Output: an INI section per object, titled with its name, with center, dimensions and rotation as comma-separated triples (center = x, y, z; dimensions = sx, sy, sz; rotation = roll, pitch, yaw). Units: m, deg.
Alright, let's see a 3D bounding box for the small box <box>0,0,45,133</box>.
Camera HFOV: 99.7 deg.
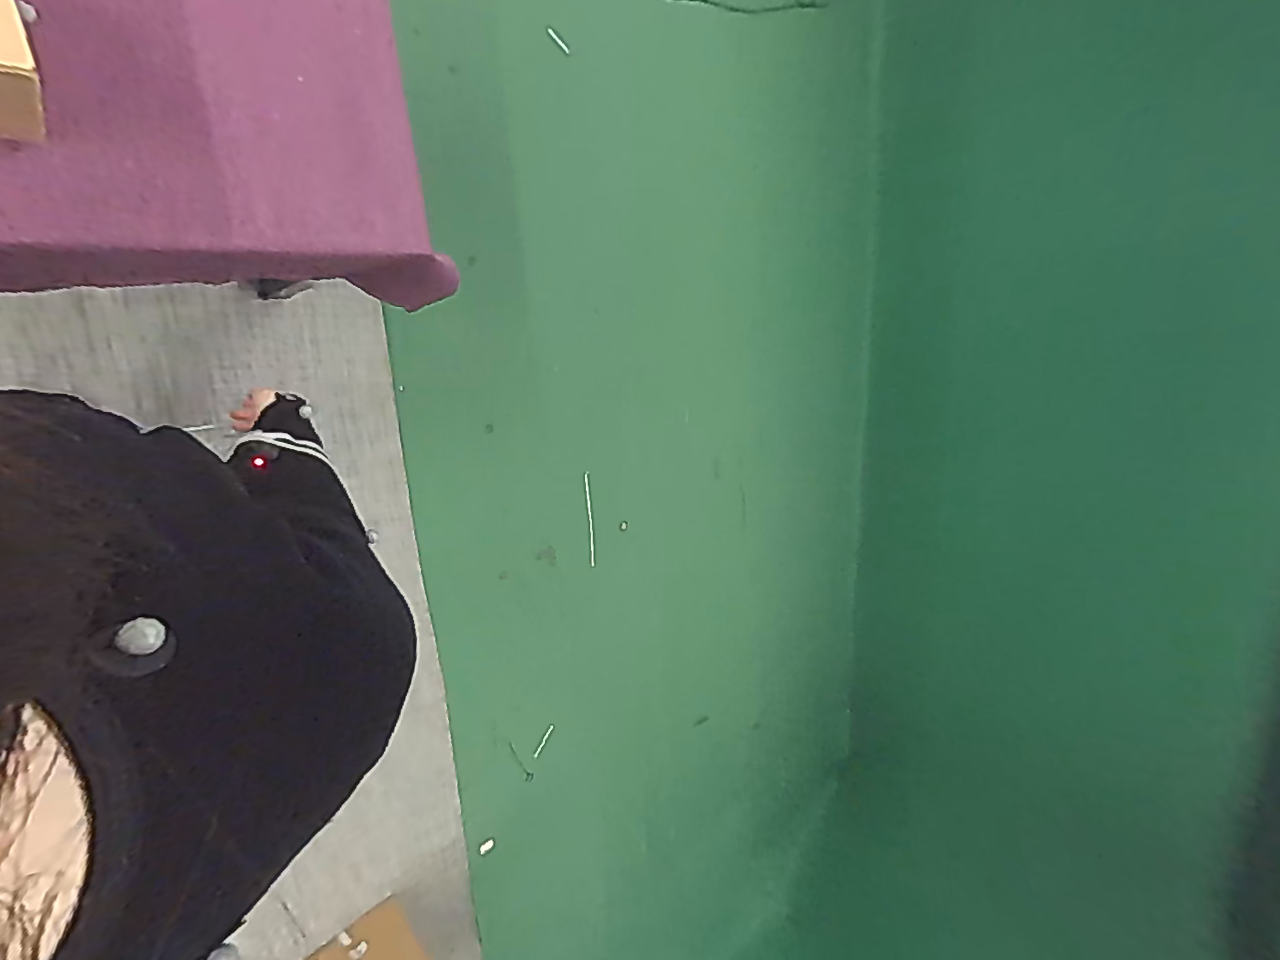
[small box]
center = -0.578, -0.382, 0.393
dimensions = 0.168, 0.176, 0.179
rotation = -19, 111, -43
